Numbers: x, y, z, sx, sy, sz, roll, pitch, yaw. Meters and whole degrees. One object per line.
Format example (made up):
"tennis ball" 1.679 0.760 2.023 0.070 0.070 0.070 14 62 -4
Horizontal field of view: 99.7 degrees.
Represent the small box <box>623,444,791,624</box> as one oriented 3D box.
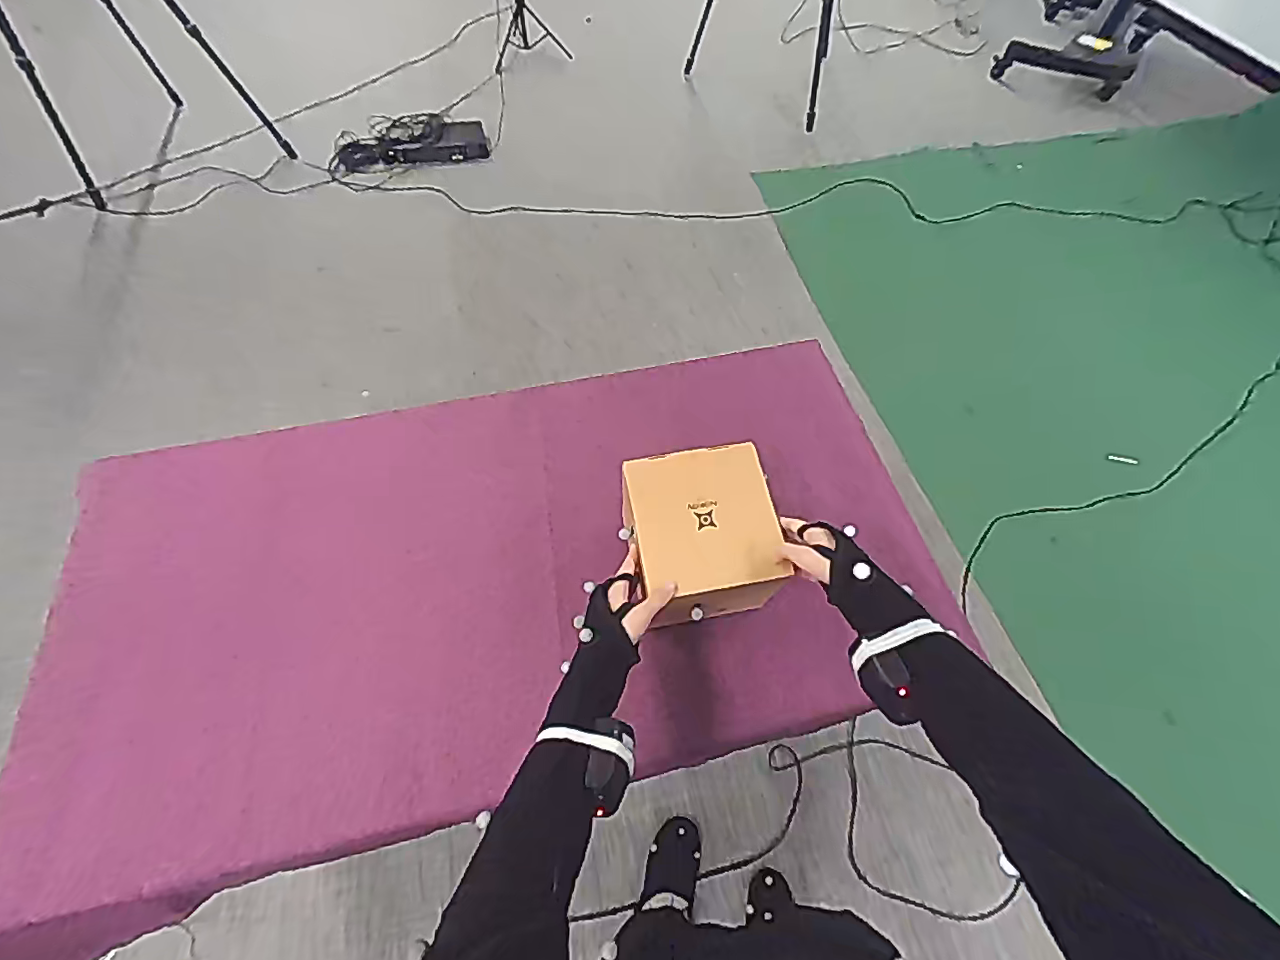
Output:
"small box" 0.074 0.079 0.700 0.168 0.176 0.179 -9 63 -6
